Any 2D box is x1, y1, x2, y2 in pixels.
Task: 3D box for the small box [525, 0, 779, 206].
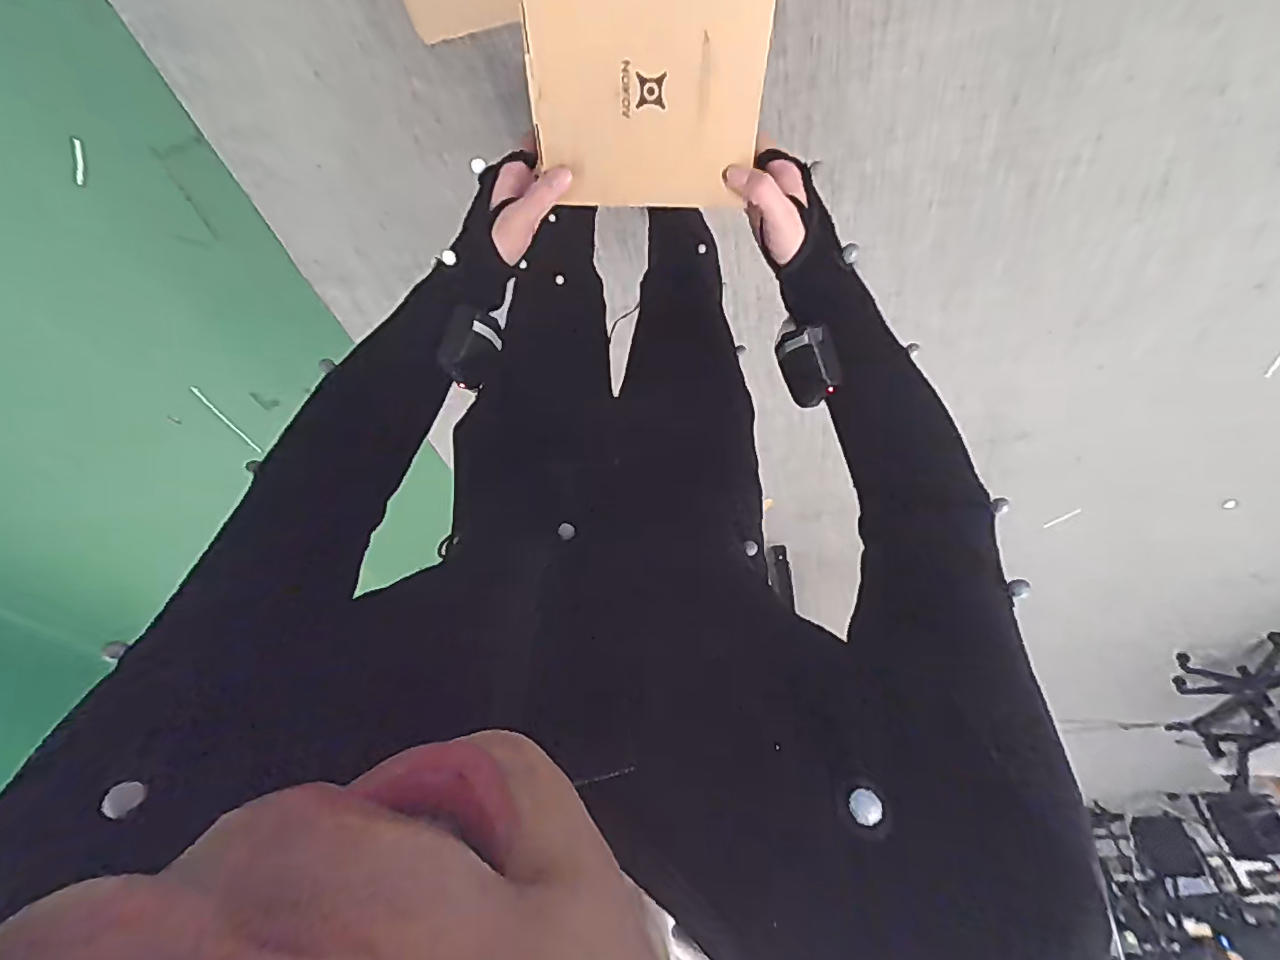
[{"bbox_3d":[0.010,-0.351,0.458,0.179,0.176,0.168,1,138,1],"label":"small box"}]
